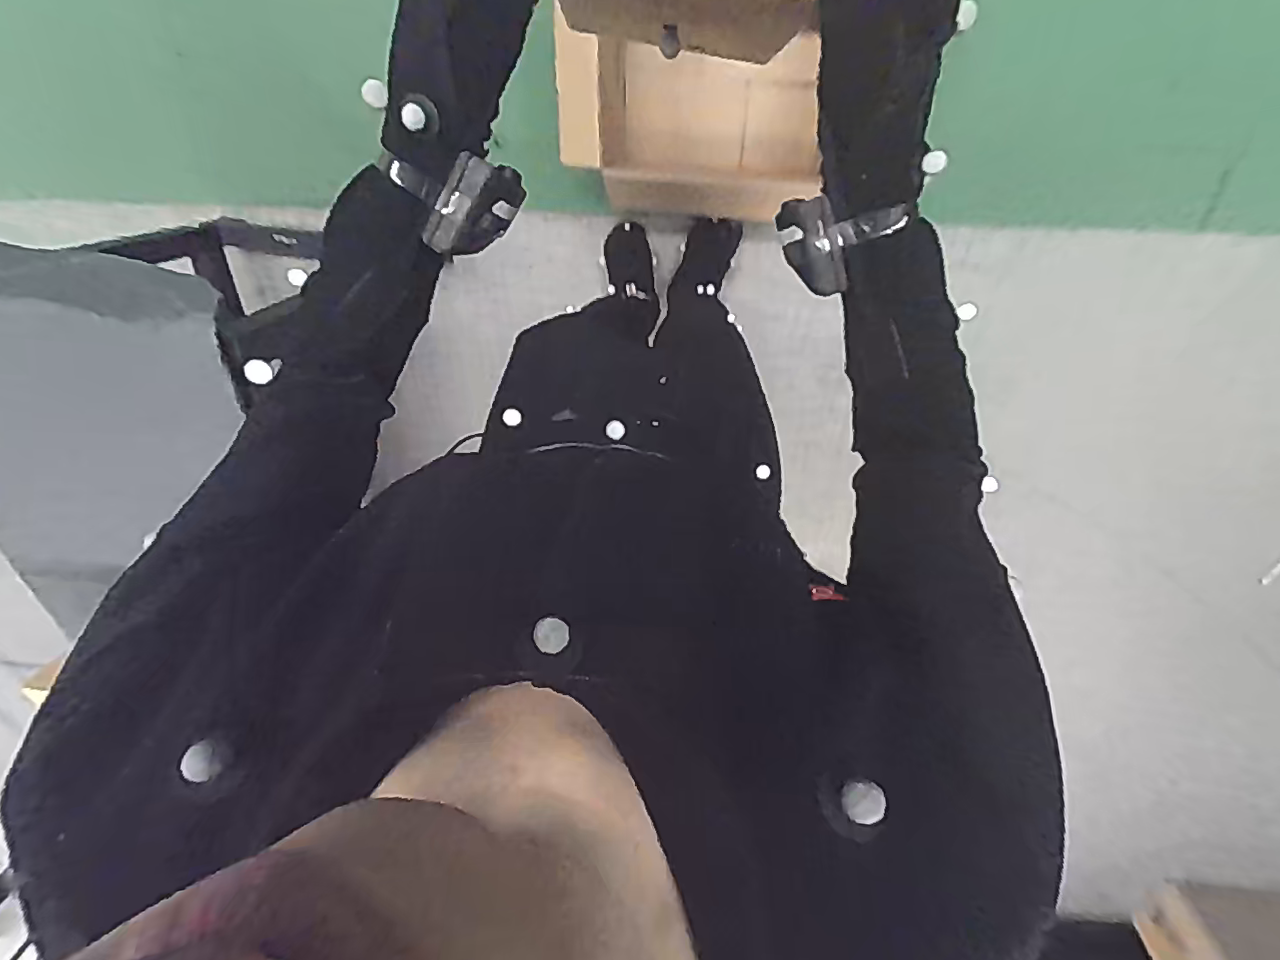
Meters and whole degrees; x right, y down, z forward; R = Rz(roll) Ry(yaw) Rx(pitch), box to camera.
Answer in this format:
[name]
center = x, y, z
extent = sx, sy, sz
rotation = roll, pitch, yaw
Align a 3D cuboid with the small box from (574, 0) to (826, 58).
[small box]
center = 0.038, -0.391, 0.325
extent = 0.168, 0.176, 0.179
rotation = 6, 117, -5
